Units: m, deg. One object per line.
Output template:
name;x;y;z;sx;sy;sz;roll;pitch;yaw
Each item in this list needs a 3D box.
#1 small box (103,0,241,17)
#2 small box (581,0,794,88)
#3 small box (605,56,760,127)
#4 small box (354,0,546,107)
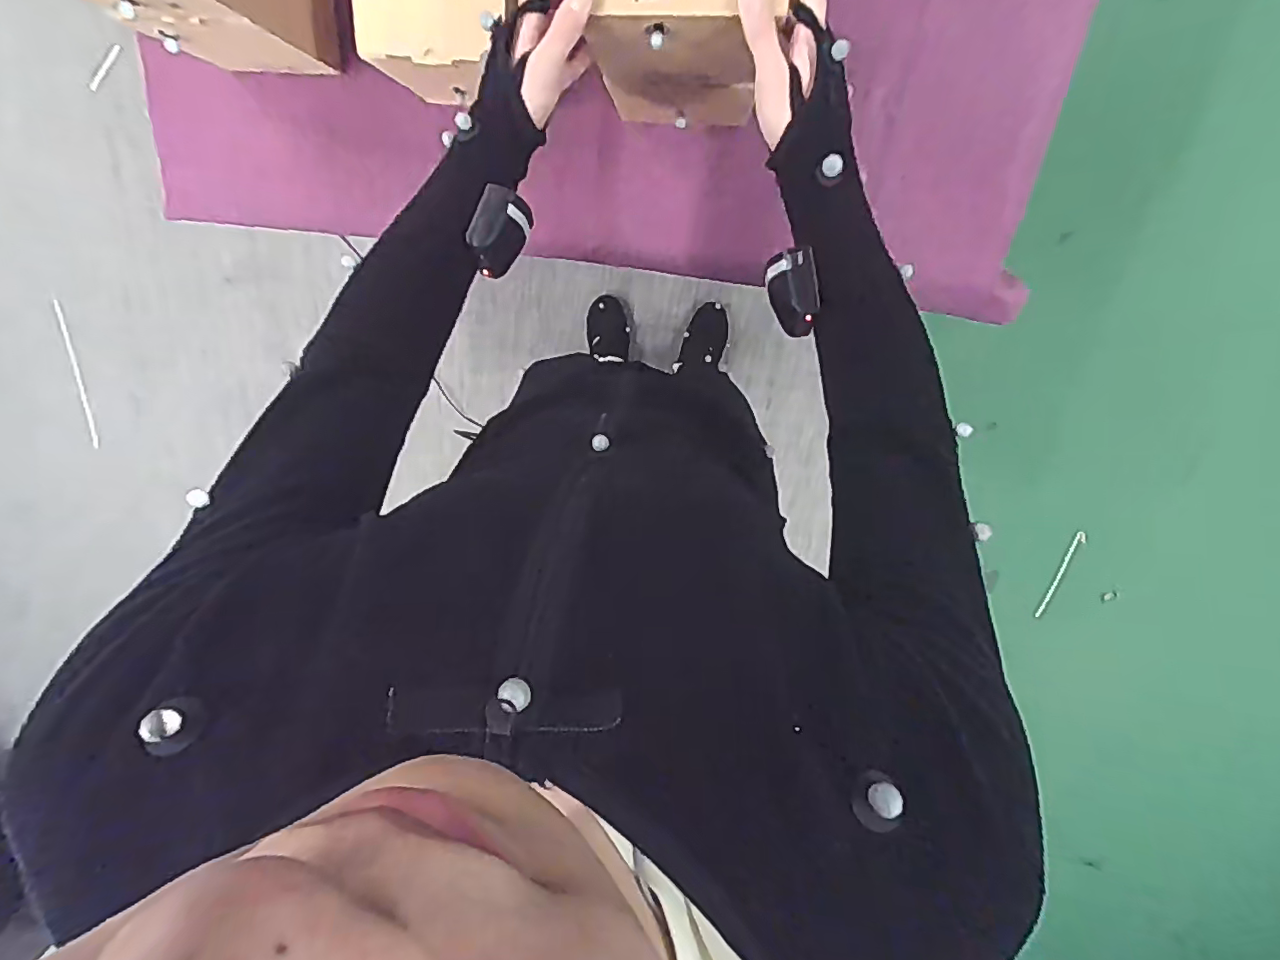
small box;-0.495;-0.549;0.467;0.168;0.176;0.179;5;112;3
small box;0.044;-0.464;0.457;0.168;0.176;0.179;4;112;3
small box;0.055;-0.524;0.610;0.168;0.176;0.179;5;112;3
small box;-0.208;-0.559;0.620;0.168;0.176;0.179;6;112;2
